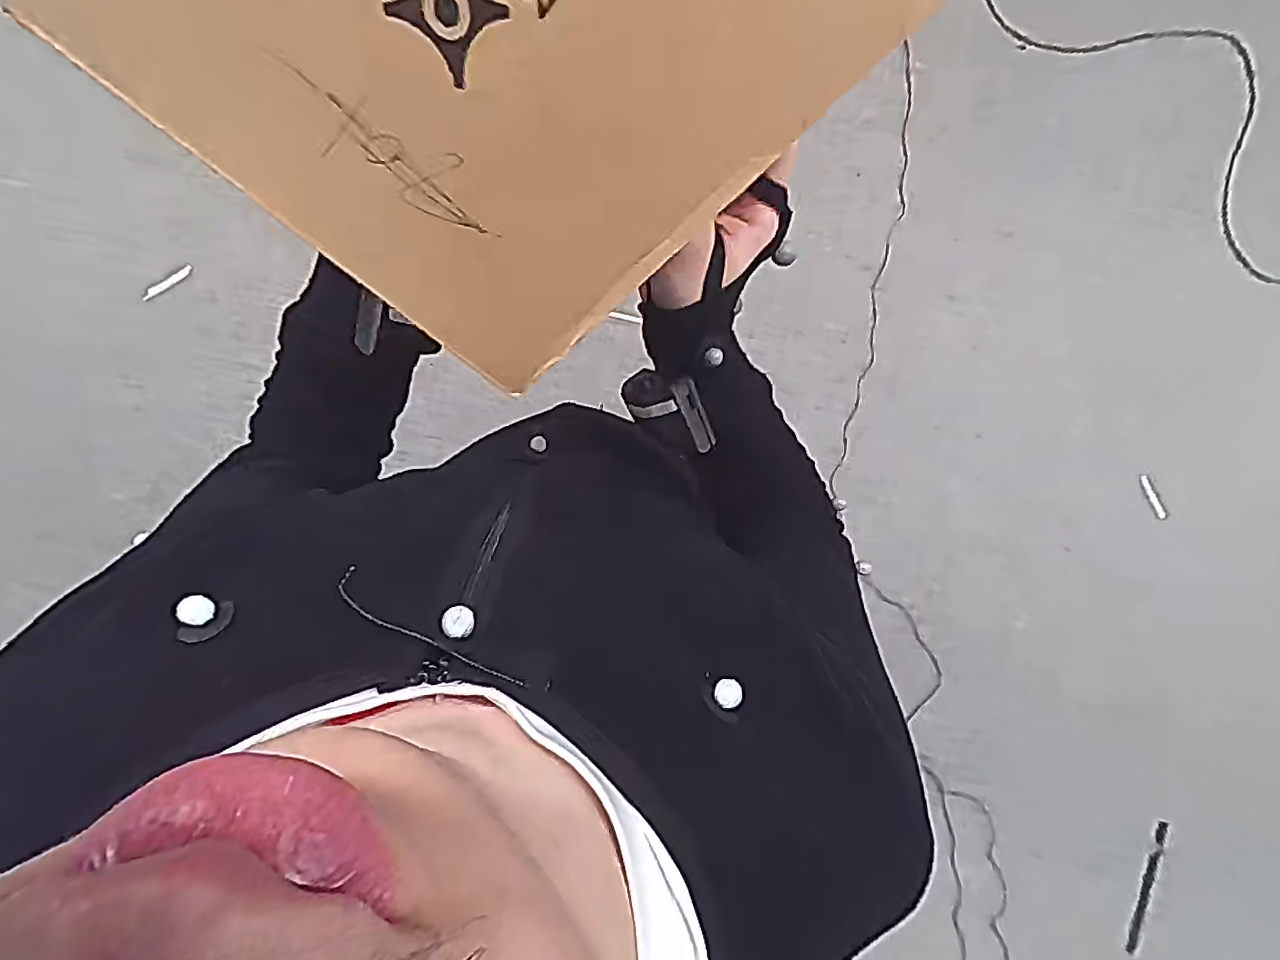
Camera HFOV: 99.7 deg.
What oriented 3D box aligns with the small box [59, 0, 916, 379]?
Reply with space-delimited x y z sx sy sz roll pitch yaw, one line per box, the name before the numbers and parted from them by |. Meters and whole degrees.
small box | -0.038 -0.180 0.199 0.168 0.176 0.179 39 126 -25
